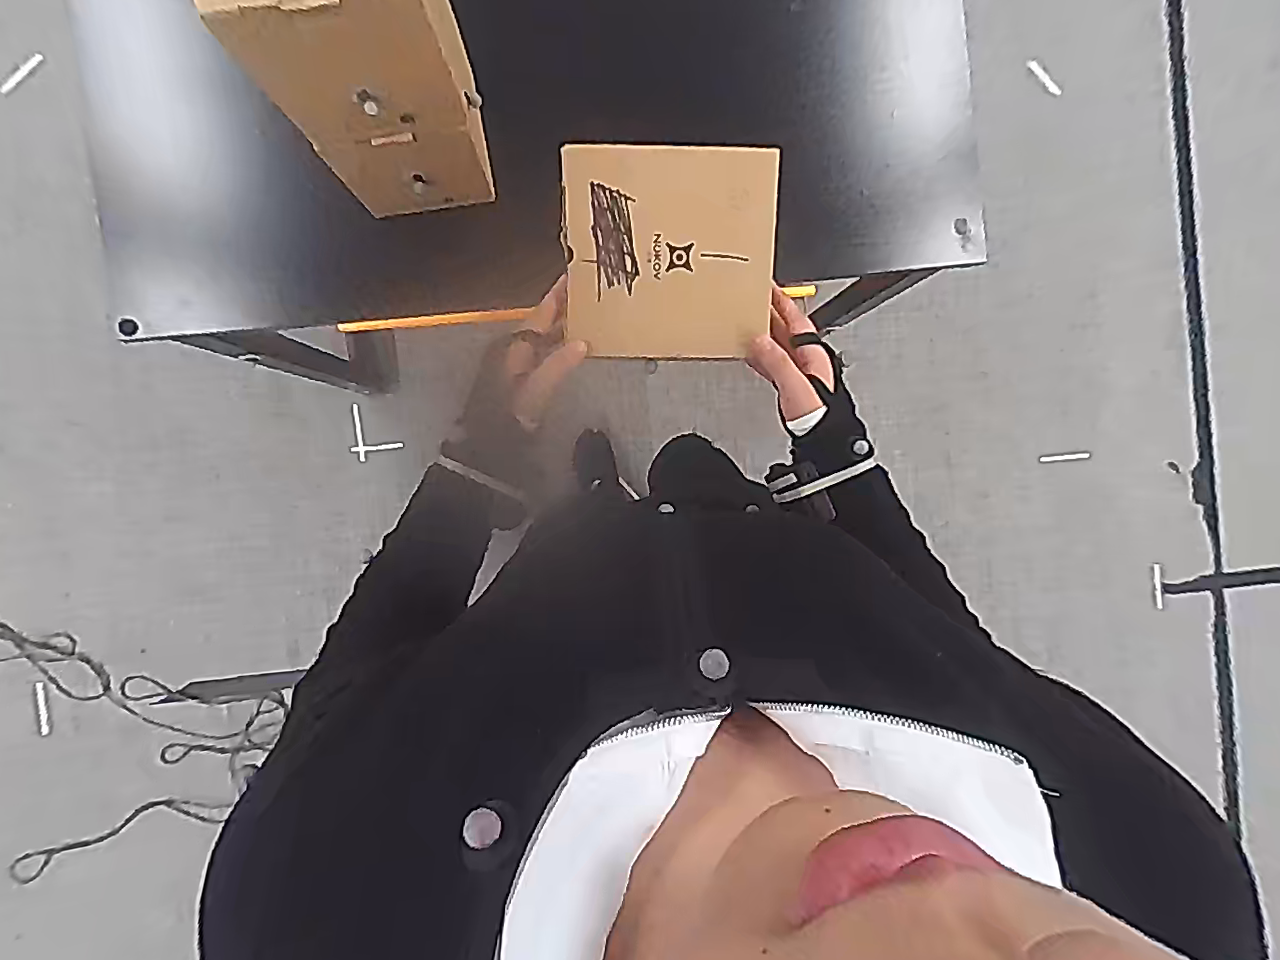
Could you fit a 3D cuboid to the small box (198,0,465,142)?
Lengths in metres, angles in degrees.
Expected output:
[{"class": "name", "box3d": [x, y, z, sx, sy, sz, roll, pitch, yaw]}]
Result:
[{"class": "small box", "box3d": [-0.275, -0.453, 0.493, 0.168, 0.176, 0.179, -12, 92, -3]}]

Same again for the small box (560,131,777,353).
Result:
[{"class": "small box", "box3d": [0.021, -0.212, 0.526, 0.179, 0.176, 0.168, 0, 102, -2]}]

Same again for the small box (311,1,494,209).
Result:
[{"class": "small box", "box3d": [-0.287, -0.453, 0.659, 0.168, 0.176, 0.179, -11, 93, -4]}]
